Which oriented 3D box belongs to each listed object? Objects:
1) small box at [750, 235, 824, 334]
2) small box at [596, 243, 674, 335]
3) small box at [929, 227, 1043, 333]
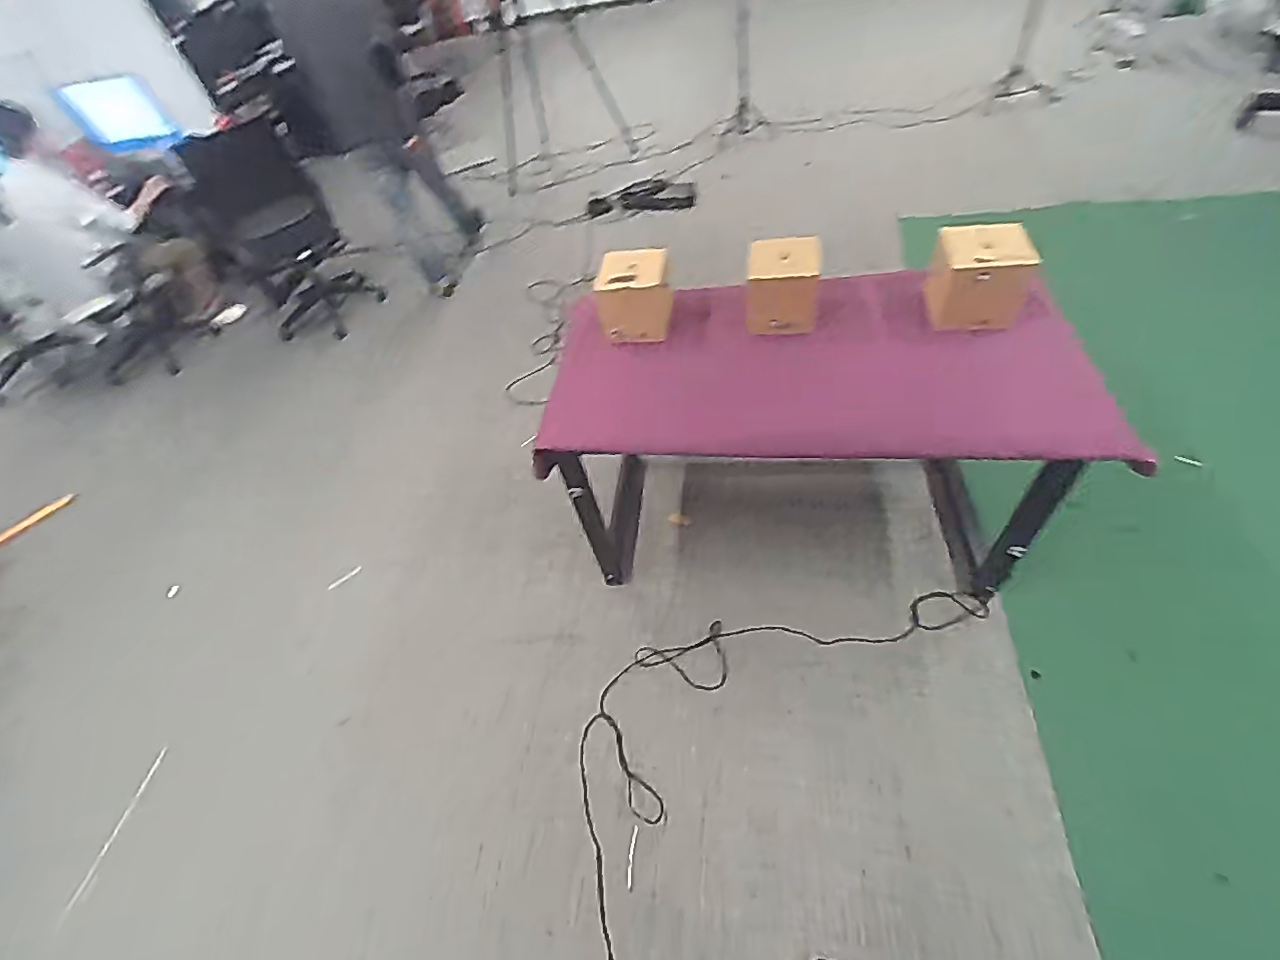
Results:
[{"bbox_3d":[0.367,-0.490,1.358,0.168,0.176,0.179,4,54,13],"label":"small box"},{"bbox_3d":[-0.005,-0.498,1.423,0.168,0.176,0.179,3,53,11],"label":"small box"},{"bbox_3d":[0.792,-0.464,1.261,0.168,0.176,0.179,2,52,13],"label":"small box"}]
